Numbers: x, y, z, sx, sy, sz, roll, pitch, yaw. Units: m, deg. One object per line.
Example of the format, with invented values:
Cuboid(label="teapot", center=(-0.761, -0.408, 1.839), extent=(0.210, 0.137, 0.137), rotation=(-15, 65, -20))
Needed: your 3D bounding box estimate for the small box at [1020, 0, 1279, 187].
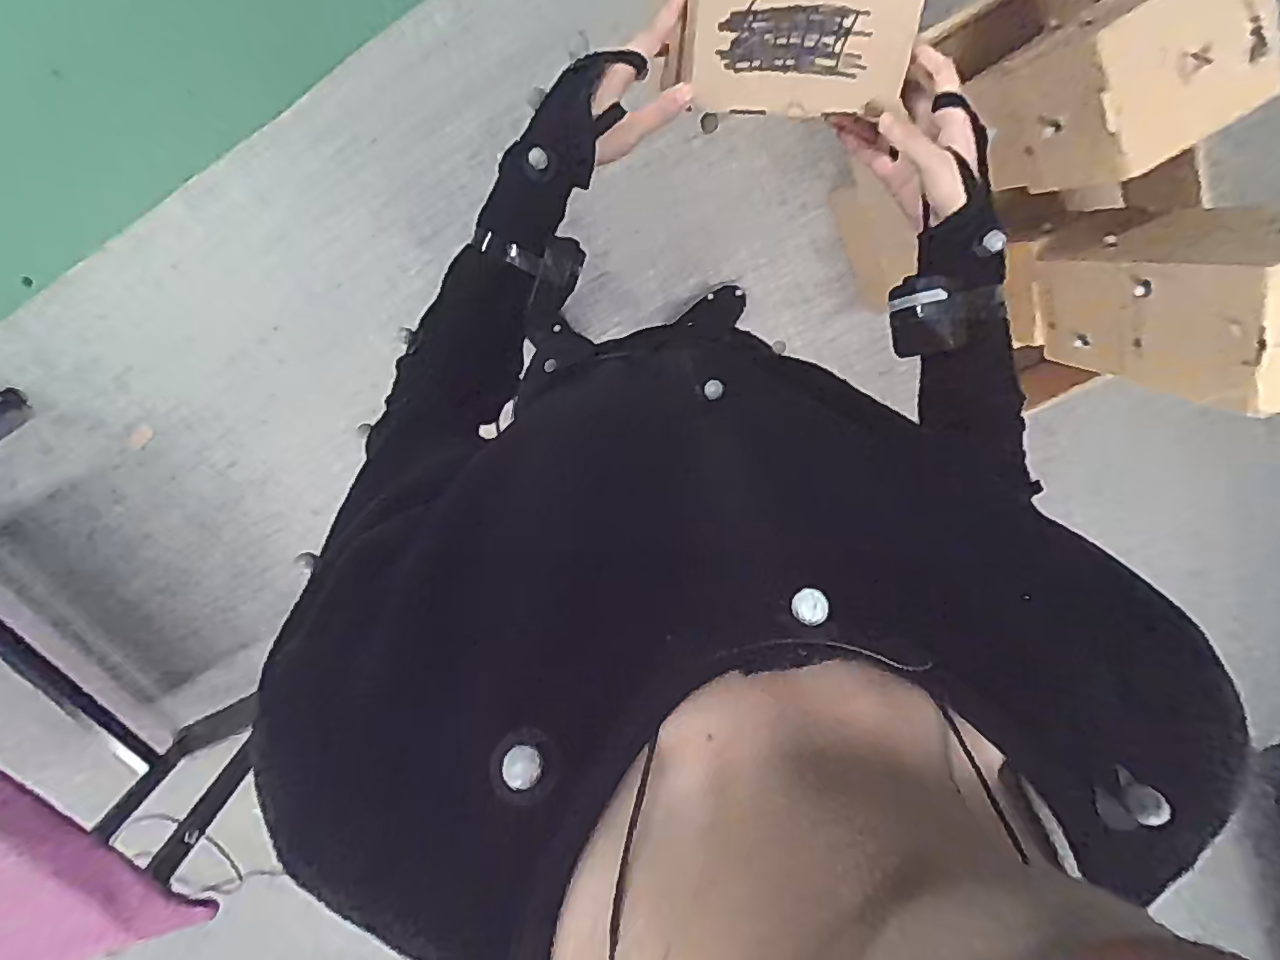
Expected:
Cuboid(label="small box", center=(0.605, -0.486, 0.658), extent=(0.179, 0.176, 0.168), rotation=(-29, 111, 11))

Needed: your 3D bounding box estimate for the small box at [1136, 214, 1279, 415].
Cuboid(label="small box", center=(0.714, -0.193, 0.608), extent=(0.179, 0.176, 0.168), rotation=(-18, 113, 6))

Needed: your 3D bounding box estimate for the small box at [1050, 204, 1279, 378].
Cuboid(label="small box", center=(0.713, -0.262, 0.756), extent=(0.179, 0.176, 0.168), rotation=(-21, 112, 8))

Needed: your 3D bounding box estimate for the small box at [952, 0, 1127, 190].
Cuboid(label="small box", center=(0.611, -0.562, 0.804), extent=(0.179, 0.176, 0.168), rotation=(-29, 110, 11))
